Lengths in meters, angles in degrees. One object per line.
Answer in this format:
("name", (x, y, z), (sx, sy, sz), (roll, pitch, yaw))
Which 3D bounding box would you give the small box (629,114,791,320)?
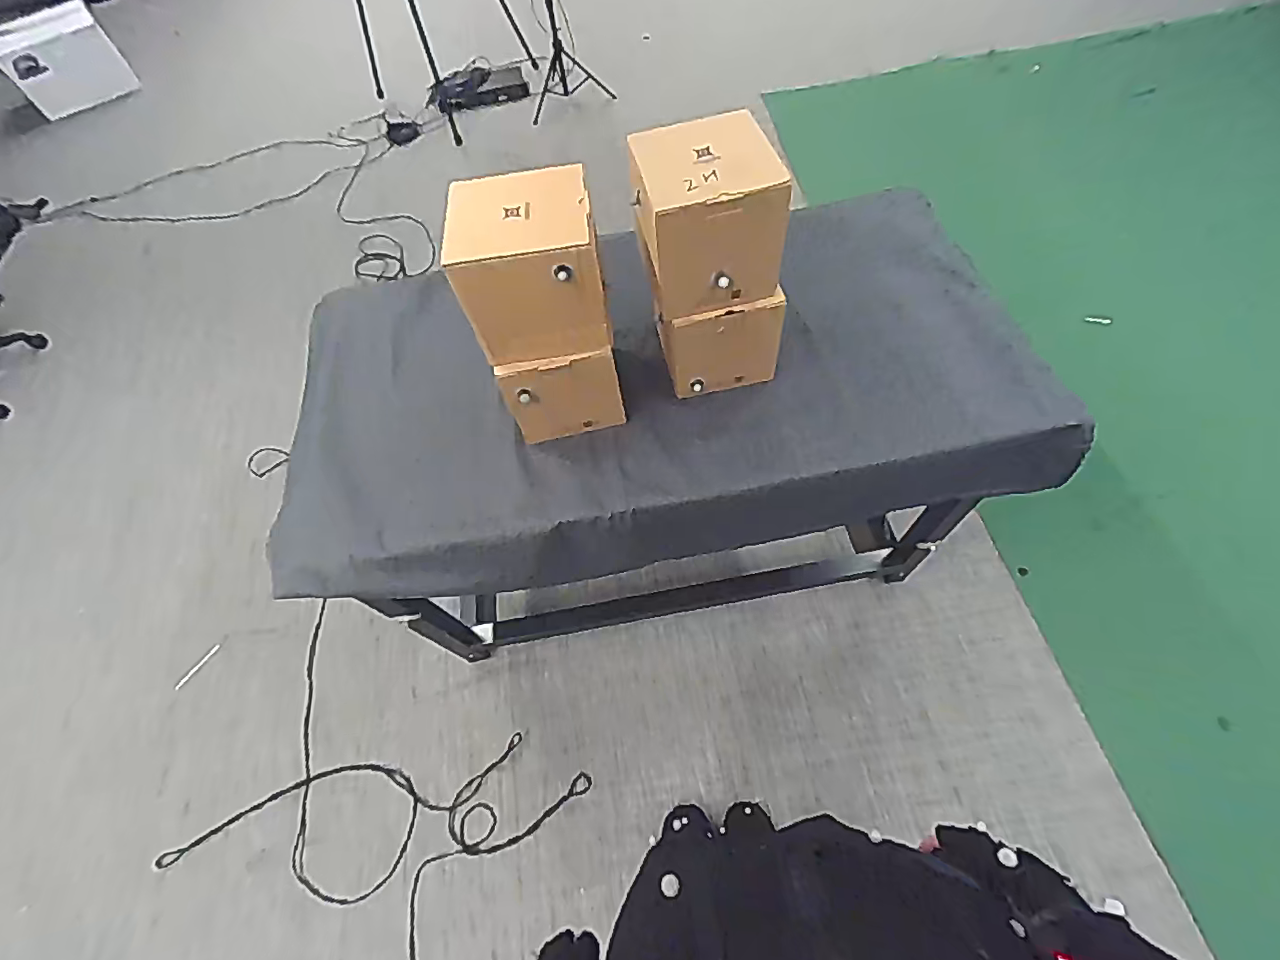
("small box", (0.087, -0.349, 0.732), (0.168, 0.176, 0.179), (-13, 60, -1))

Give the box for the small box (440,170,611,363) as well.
("small box", (-0.140, -0.273, 0.716), (0.179, 0.176, 0.168), (-8, 59, 1))

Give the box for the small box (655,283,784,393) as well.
("small box", (0.119, -0.258, 0.865), (0.168, 0.176, 0.179), (-12, 59, 0))
